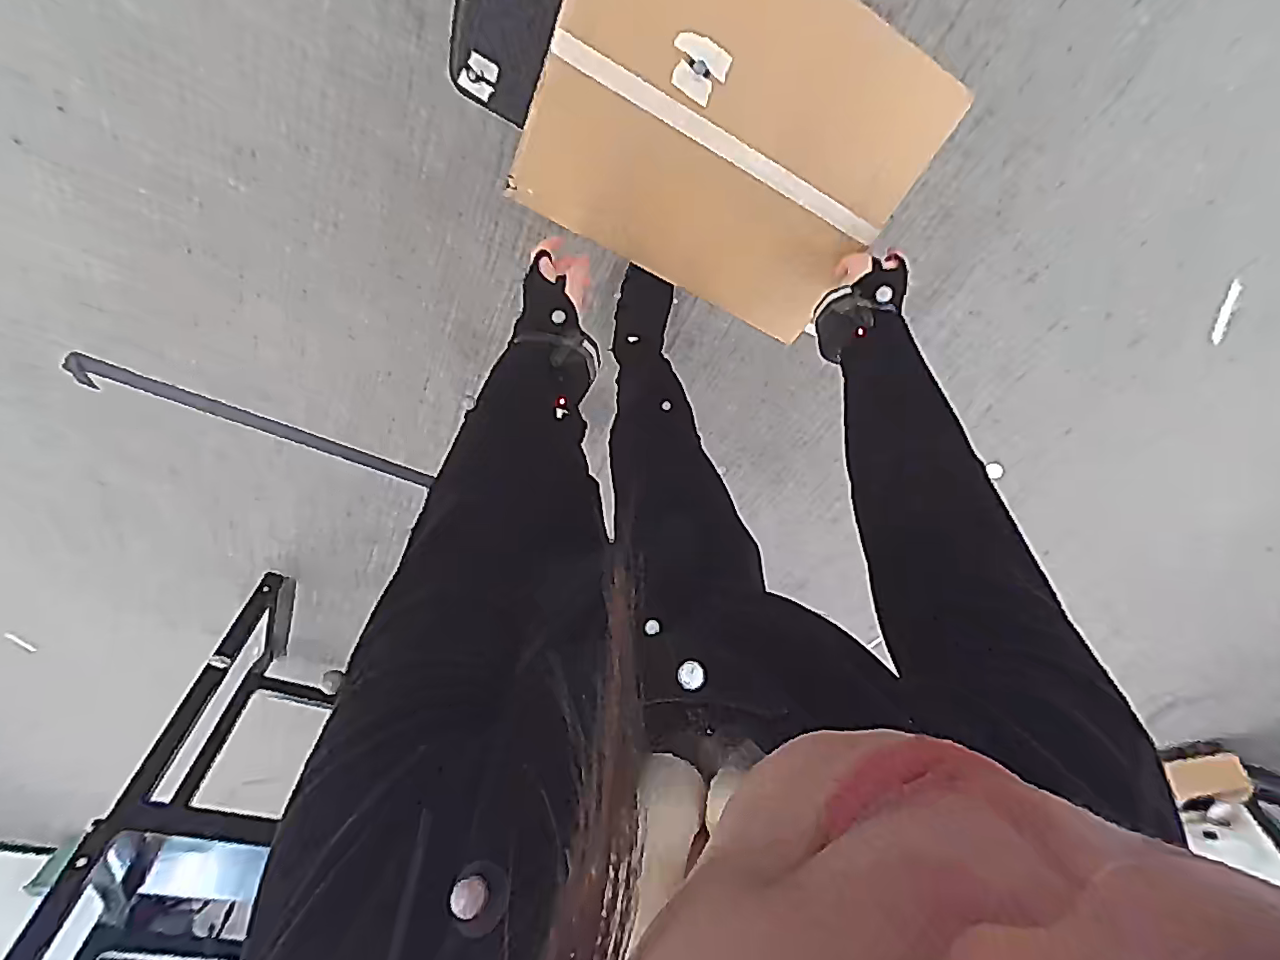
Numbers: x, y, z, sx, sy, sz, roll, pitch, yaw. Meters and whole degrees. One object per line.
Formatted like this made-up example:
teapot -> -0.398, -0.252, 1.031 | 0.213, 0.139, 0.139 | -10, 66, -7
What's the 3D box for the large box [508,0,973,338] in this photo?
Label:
large box -> 0.098, -0.451, 0.689 | 0.408, 0.320, 0.320 | 22, 126, -16
